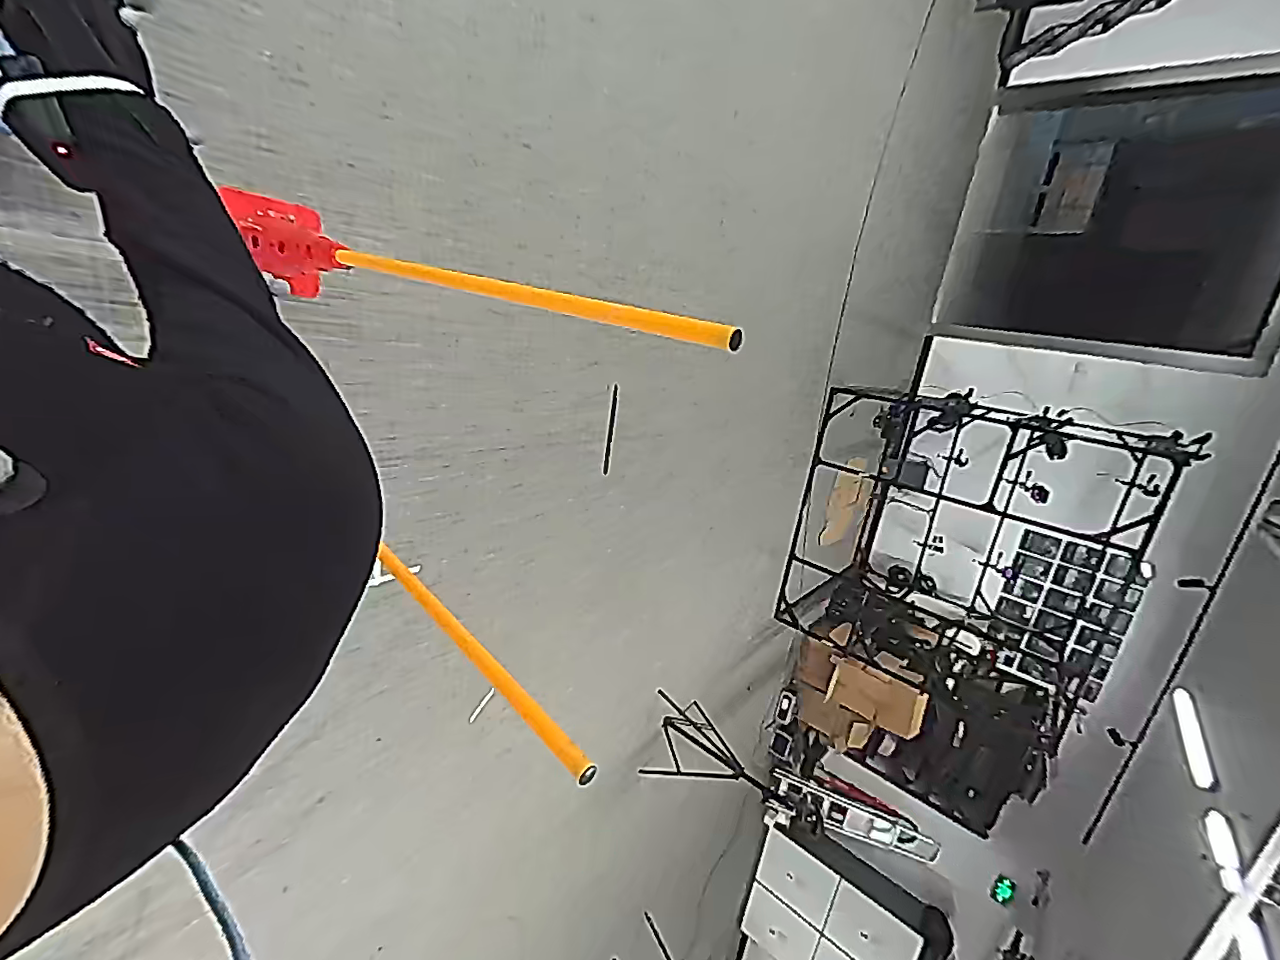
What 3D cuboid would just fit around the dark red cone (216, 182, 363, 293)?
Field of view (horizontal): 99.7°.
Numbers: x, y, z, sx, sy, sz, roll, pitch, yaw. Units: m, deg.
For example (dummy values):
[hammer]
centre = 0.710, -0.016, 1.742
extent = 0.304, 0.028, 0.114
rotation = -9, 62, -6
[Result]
[dark red cone]
centre = -0.682, -0.481, 1.102
extent = 0.201, 0.394, 0.202
rotation = -12, 117, -52
